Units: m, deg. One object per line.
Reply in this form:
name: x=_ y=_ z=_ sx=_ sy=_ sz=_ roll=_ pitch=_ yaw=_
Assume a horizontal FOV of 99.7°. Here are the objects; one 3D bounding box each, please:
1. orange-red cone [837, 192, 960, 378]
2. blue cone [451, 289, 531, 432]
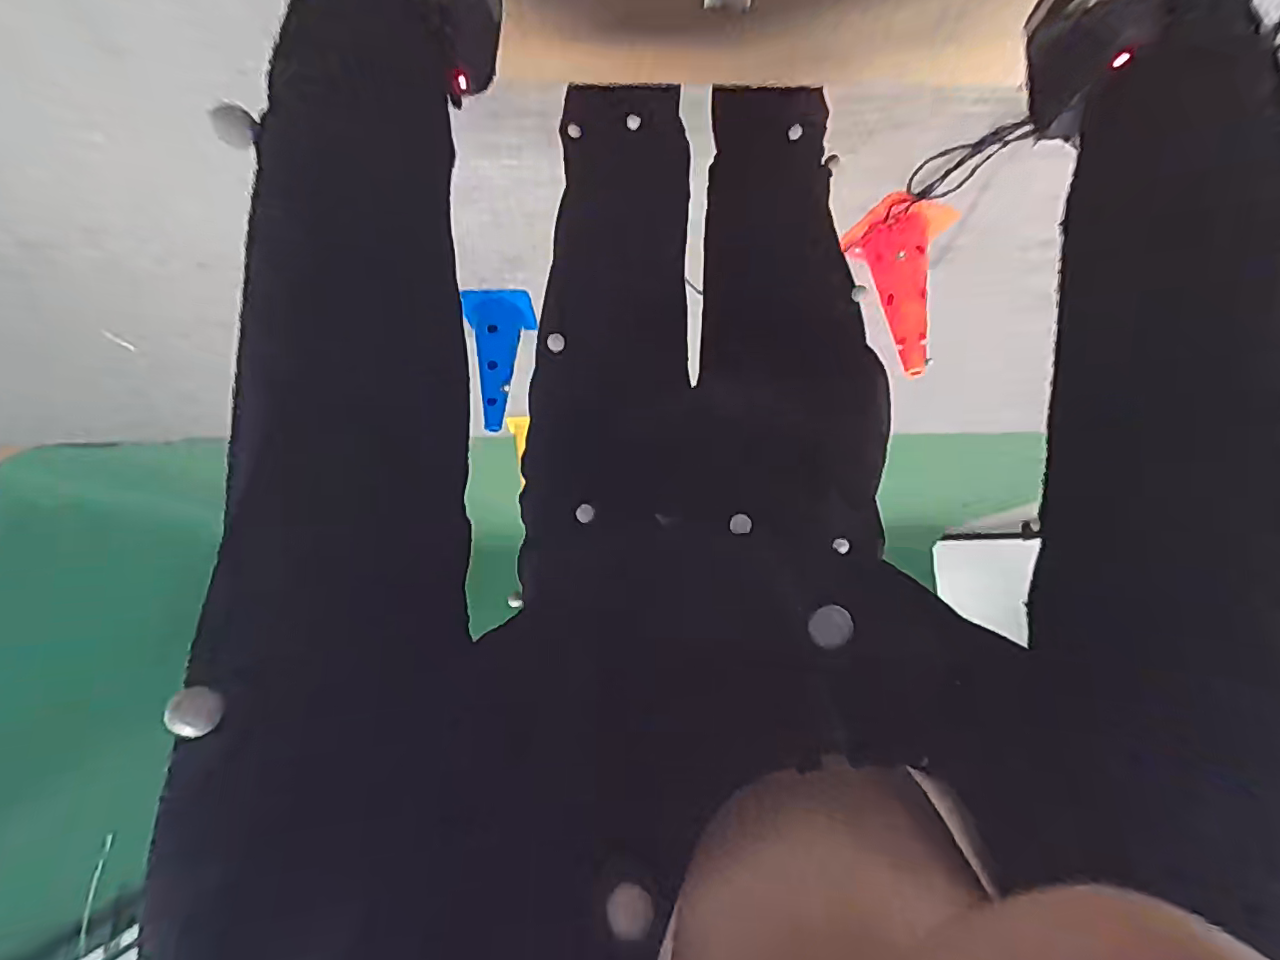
orange-red cone: x=0.578 y=-0.392 z=1.169 sx=0.199 sy=0.360 sz=0.198 roll=4 pitch=165 yaw=-22
blue cone: x=-0.406 y=-0.313 z=1.457 sx=0.192 sy=0.380 sz=0.193 roll=0 pitch=164 yaw=-3
